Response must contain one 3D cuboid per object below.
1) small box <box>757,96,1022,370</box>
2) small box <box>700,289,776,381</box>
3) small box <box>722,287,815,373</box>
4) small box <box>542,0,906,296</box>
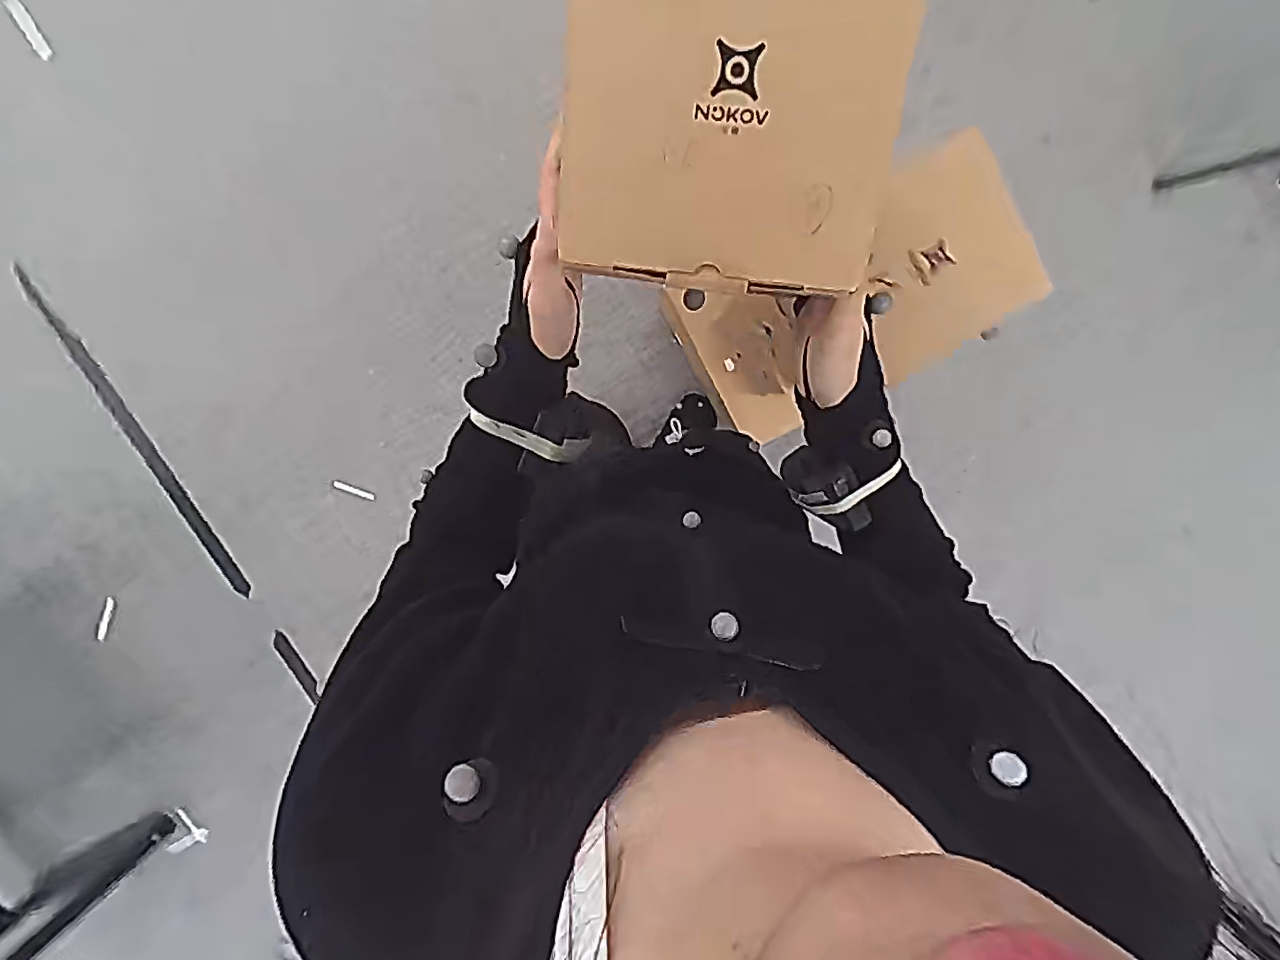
[{"bbox_3d":[0.229,-0.232,0.560,0.179,0.176,0.168,-36,98,8],"label":"small box"},{"bbox_3d":[0.231,-0.307,1.046,0.168,0.176,0.179,-35,99,8],"label":"small box"},{"bbox_3d":[0.229,-0.260,0.723,0.179,0.176,0.168,-34,98,8],"label":"small box"},{"bbox_3d":[0.039,-0.217,0.335,0.168,0.176,0.179,5,111,0],"label":"small box"}]
